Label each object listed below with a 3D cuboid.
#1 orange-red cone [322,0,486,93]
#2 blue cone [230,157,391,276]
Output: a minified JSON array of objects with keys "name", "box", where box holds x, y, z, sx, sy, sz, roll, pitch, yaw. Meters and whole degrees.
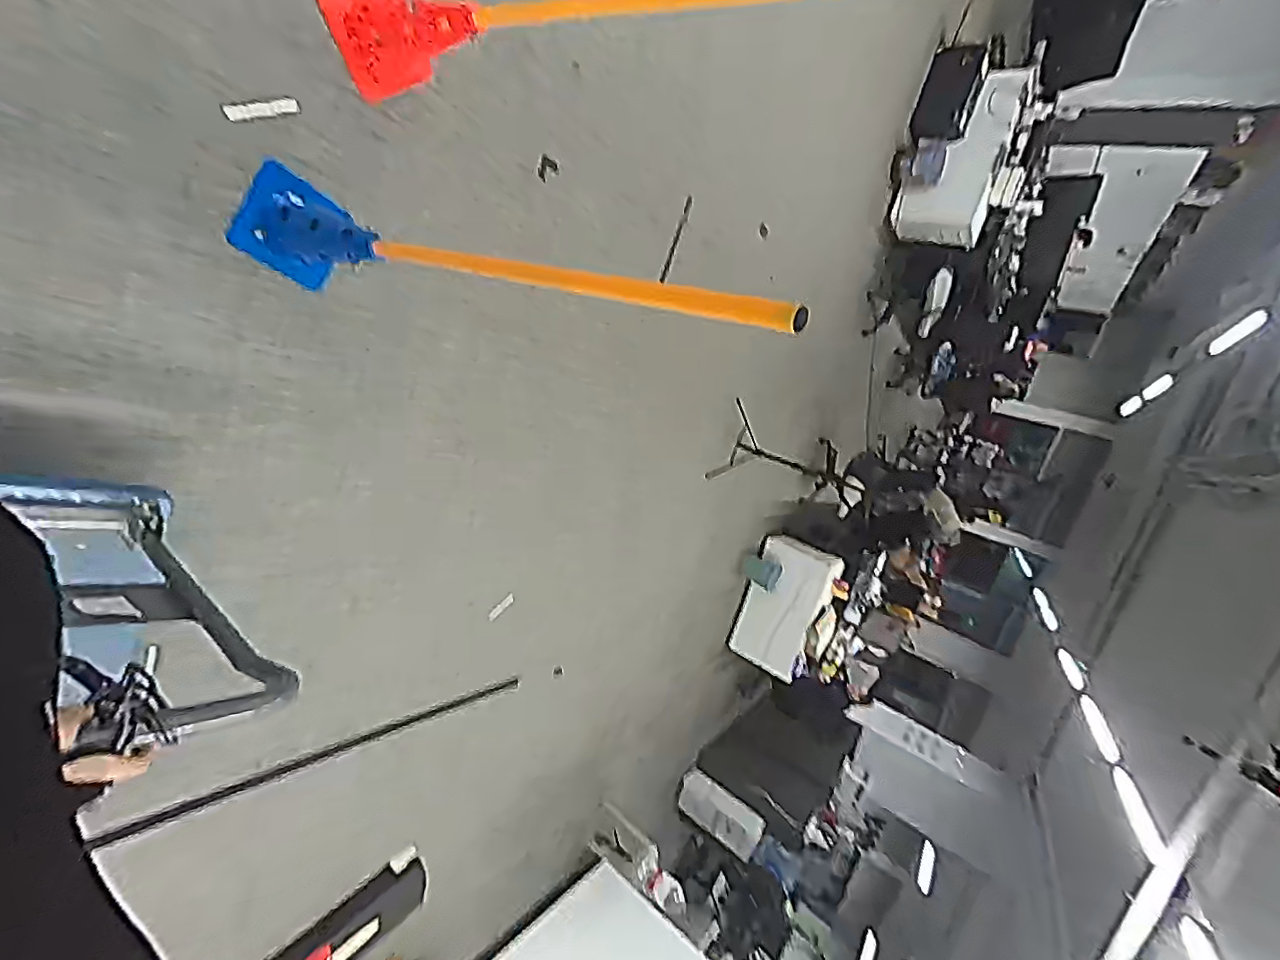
[{"name":"orange-red cone","box":[-0.425,-0.900,1.058,0.199,0.360,0.198,-45,142,-28]},{"name":"blue cone","box":[-0.614,-0.499,1.067,0.193,0.380,0.192,33,82,-58]}]
